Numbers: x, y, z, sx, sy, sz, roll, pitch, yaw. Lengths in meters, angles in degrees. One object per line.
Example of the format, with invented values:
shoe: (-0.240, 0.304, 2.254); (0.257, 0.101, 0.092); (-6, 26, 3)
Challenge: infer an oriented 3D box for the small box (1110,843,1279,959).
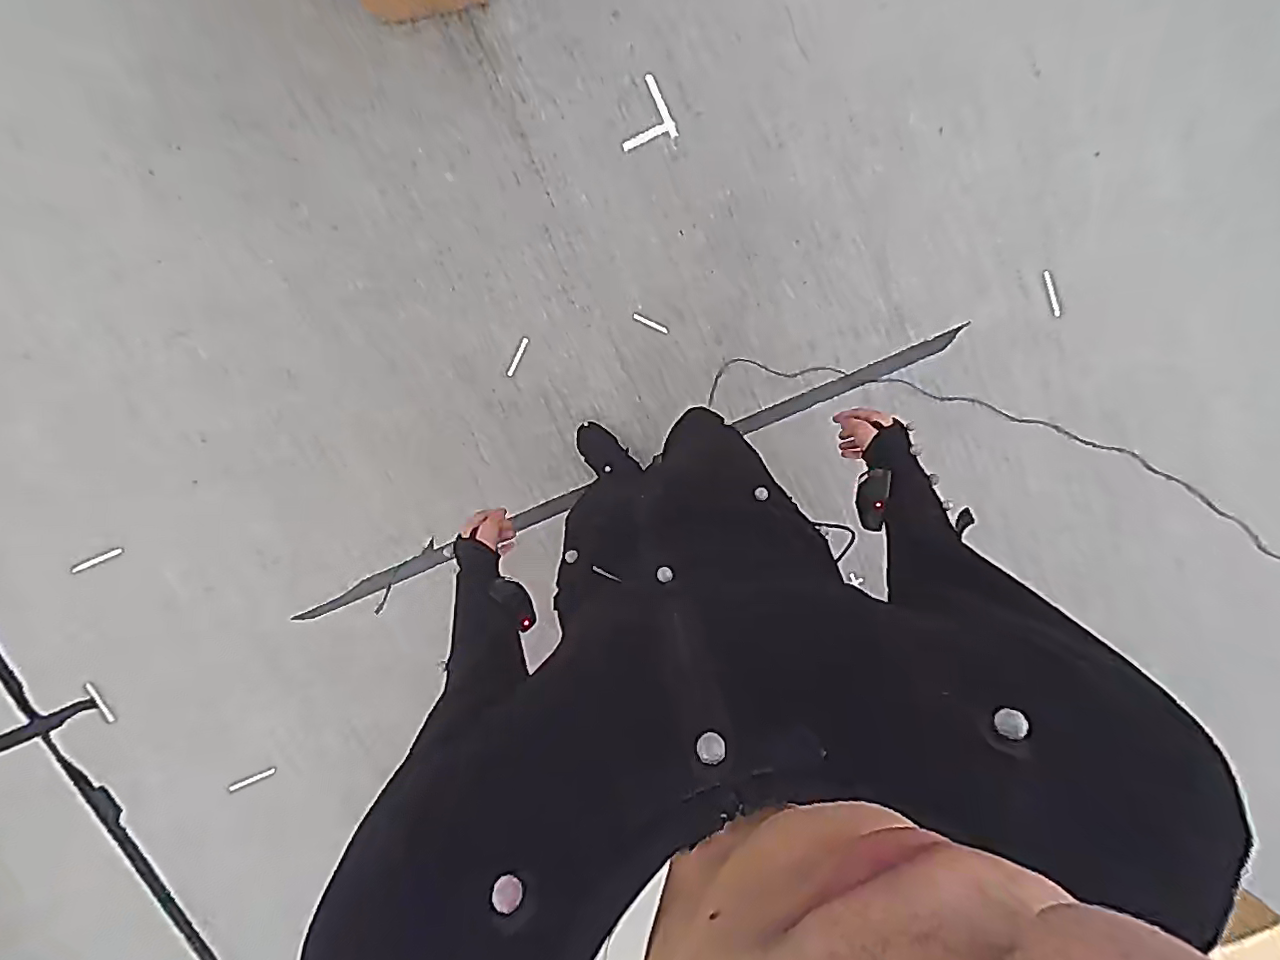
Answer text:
small box: (1.012, 0.817, 0.984); (0.179, 0.176, 0.168); (-23, 99, 3)
